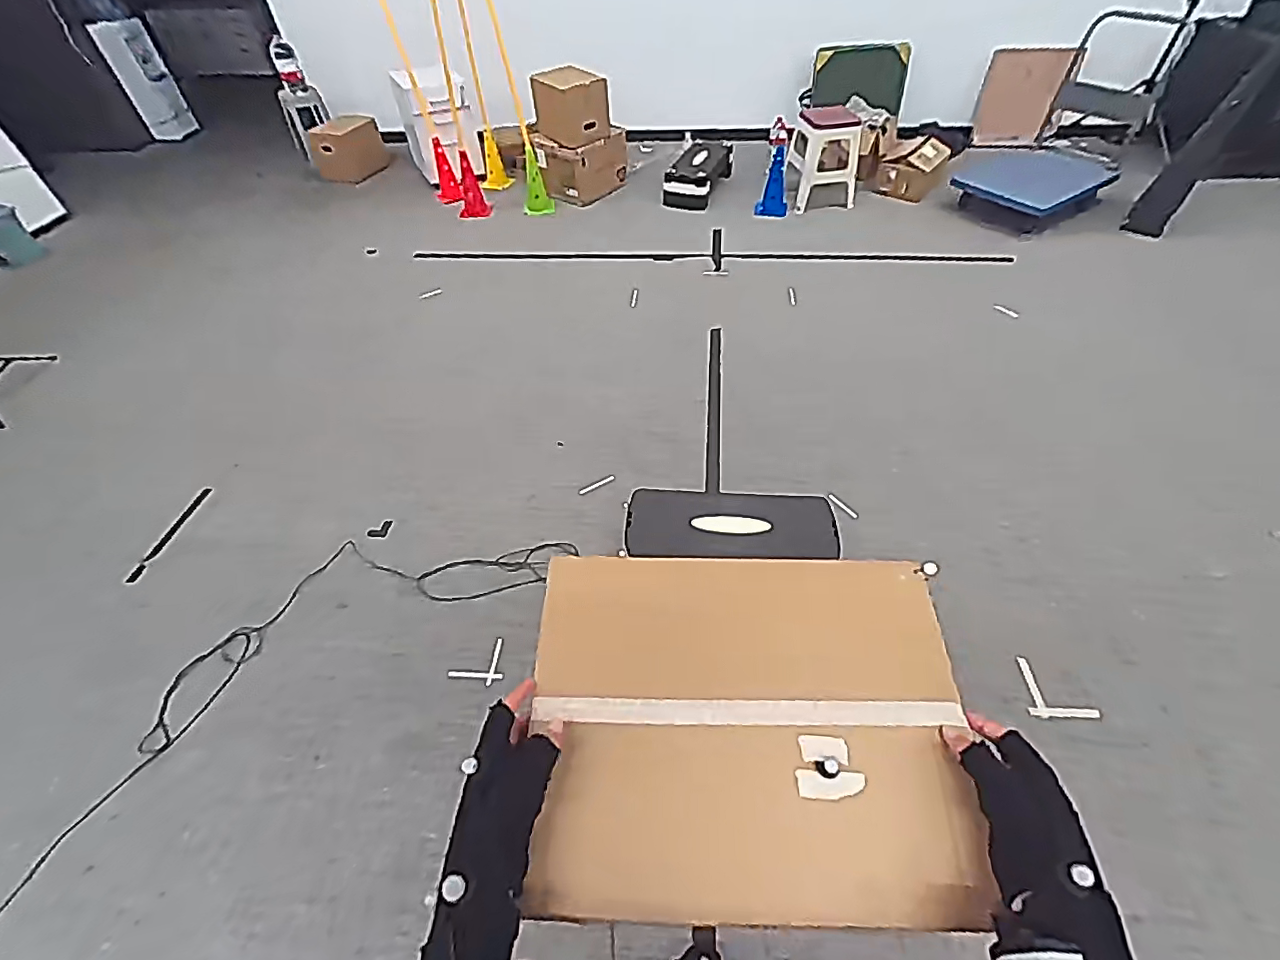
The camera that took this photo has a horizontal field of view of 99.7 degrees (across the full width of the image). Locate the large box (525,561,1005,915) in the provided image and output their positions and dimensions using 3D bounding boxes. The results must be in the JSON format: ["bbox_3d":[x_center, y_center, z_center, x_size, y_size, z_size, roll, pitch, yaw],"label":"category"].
[{"bbox_3d":[0.101,0.302,0.645,0.408,0.320,0.320,0,58,0],"label":"large box"}]
